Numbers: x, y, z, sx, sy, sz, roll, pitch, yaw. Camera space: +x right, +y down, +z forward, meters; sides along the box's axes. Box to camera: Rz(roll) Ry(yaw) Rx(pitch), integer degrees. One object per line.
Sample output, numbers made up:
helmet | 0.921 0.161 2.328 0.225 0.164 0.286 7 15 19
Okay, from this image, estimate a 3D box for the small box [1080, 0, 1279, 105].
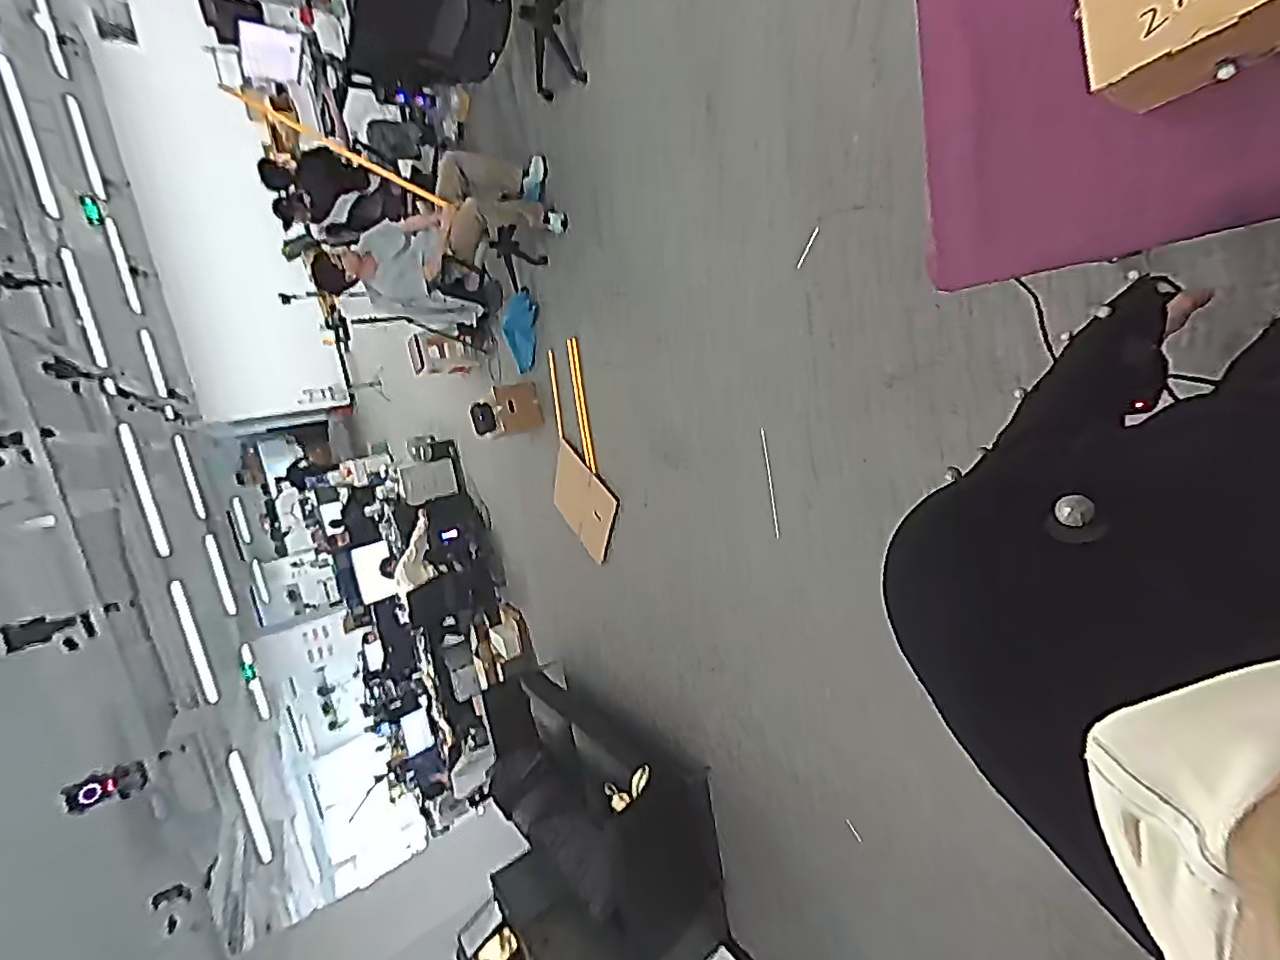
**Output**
small box | 0.564 -0.514 0.535 0.168 0.176 0.179 -3 100 57
